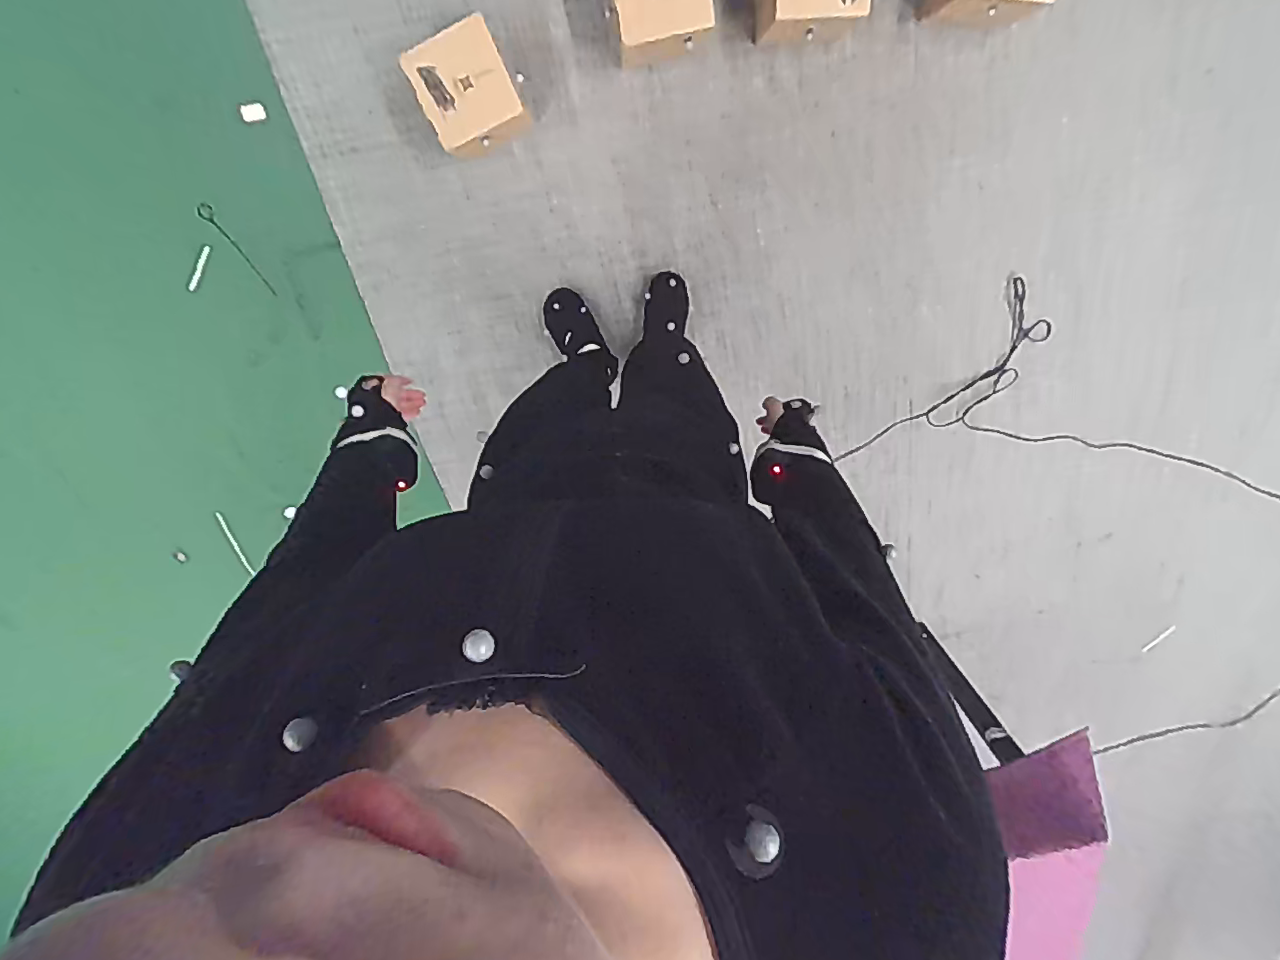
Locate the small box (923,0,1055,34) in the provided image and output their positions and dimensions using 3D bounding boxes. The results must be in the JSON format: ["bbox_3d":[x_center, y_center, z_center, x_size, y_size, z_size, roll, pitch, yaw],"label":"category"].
[{"bbox_3d":[0.673,-0.976,1.021,0.179,0.176,0.168,3,116,-5],"label":"small box"}]

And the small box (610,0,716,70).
[{"bbox_3d":[0.037,-0.911,1.024,0.179,0.176,0.168,-10,115,3],"label":"small box"}]

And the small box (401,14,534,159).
[{"bbox_3d":[-0.331,-0.768,1.079,0.179,0.176,0.168,-22,115,8],"label":"small box"}]
